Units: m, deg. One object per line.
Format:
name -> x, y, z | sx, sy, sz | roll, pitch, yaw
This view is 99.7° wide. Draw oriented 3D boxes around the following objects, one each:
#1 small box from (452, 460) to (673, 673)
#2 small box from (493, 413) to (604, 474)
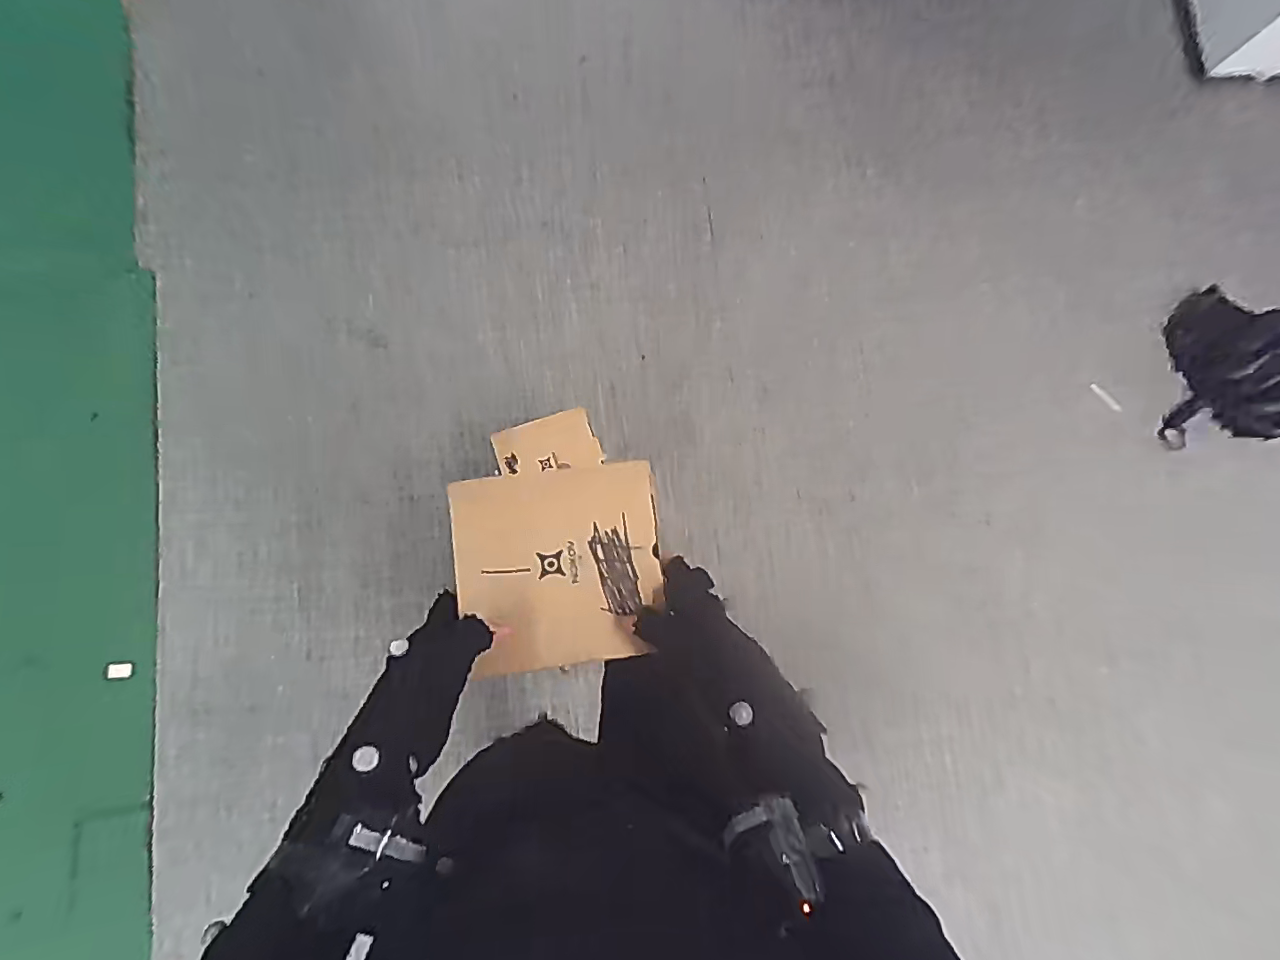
small box -> -0.075, 0.083, 0.543 | 0.179, 0.176, 0.168 | -7, 80, -7
small box -> -0.157, -0.010, 1.033 | 0.179, 0.176, 0.168 | -21, 85, -5
